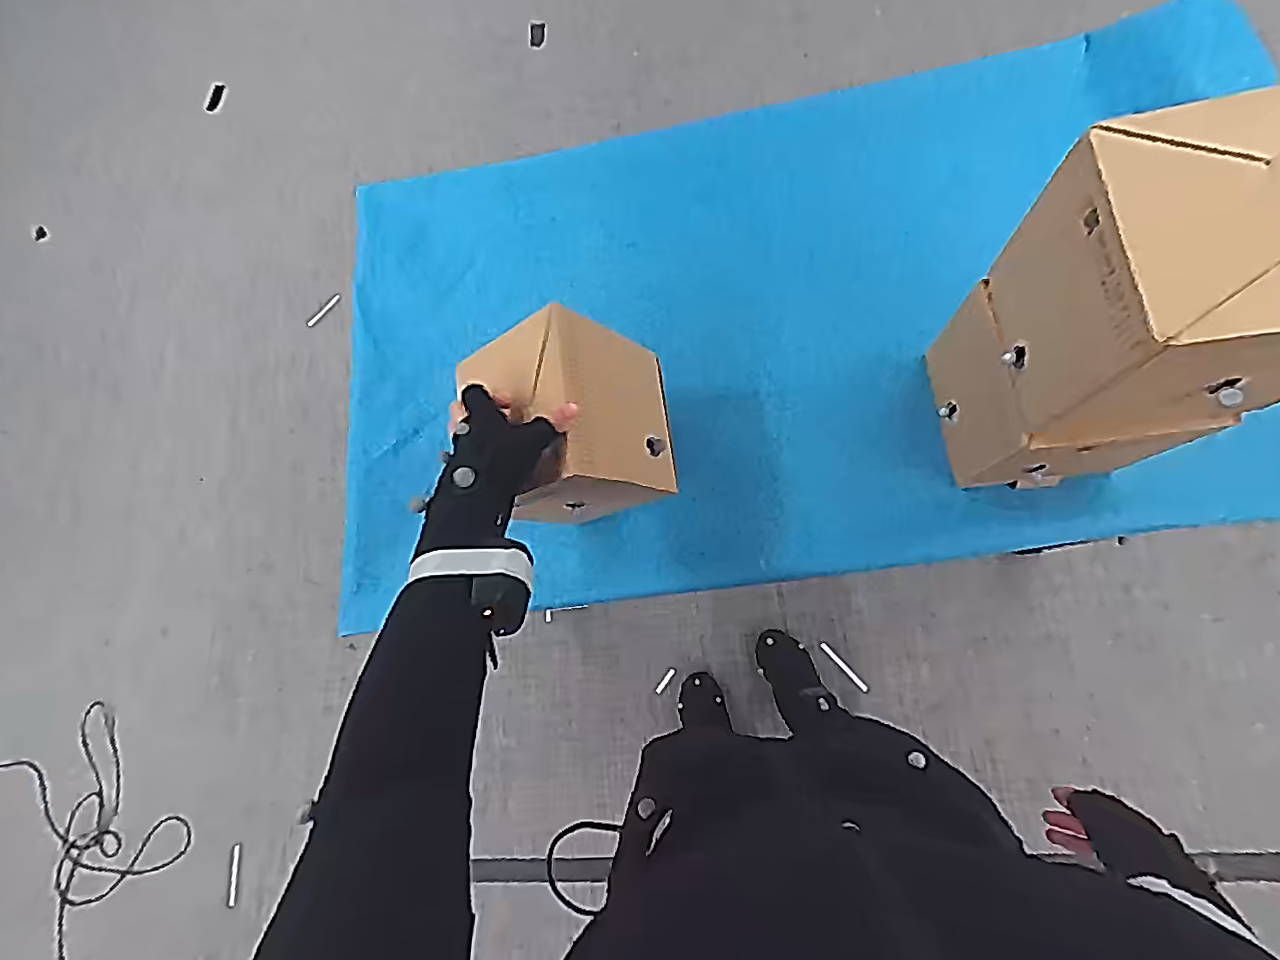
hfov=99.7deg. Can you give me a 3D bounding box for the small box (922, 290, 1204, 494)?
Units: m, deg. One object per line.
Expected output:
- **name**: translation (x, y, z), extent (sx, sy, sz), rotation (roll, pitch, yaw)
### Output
- **small box**: translation (0.423, -0.097, 0.562), extent (0.168, 0.176, 0.179), rotation (-8, 75, 8)

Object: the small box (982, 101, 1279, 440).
- **small box**: translation (0.400, -0.143, 0.406), extent (0.179, 0.176, 0.168), rotation (-7, 74, 11)

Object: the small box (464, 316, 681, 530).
- **small box**: translation (-0.080, -0.050, 0.607), extent (0.168, 0.176, 0.179), rotation (-22, 70, 37)
